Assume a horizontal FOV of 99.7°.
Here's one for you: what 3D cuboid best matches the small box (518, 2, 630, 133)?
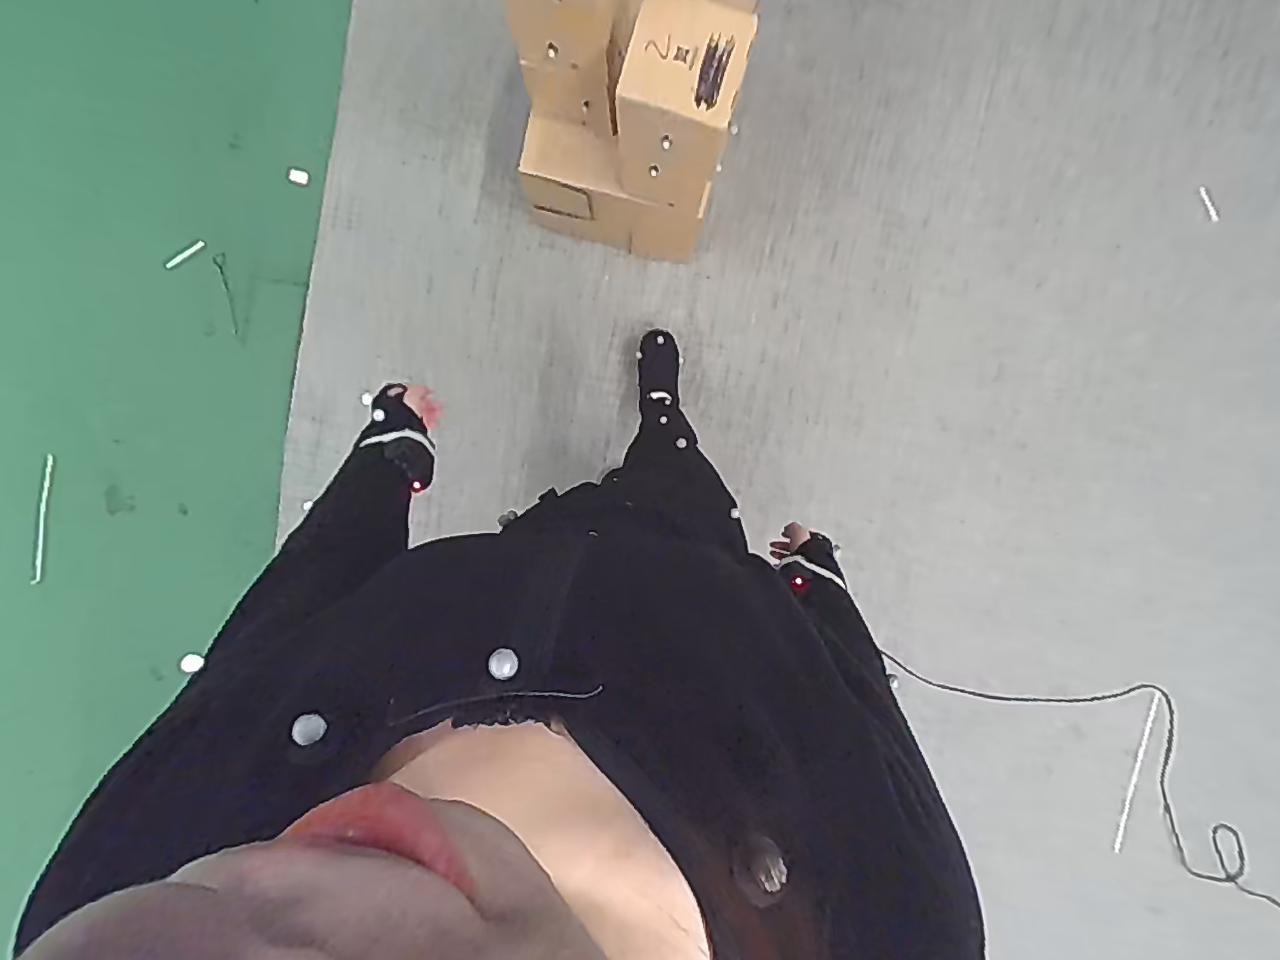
[{"bbox_3d":[-0.117,-0.811,1.036,0.168,0.176,0.179,15,92,0],"label":"small box"}]

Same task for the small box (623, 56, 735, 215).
[{"bbox_3d":[0.067,-0.651,1.041,0.168,0.176,0.179,16,92,-1],"label":"small box"}]

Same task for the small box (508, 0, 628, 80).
[{"bbox_3d":[-0.113,-0.804,0.872,0.168,0.176,0.179,15,95,-1],"label":"small box"}]
